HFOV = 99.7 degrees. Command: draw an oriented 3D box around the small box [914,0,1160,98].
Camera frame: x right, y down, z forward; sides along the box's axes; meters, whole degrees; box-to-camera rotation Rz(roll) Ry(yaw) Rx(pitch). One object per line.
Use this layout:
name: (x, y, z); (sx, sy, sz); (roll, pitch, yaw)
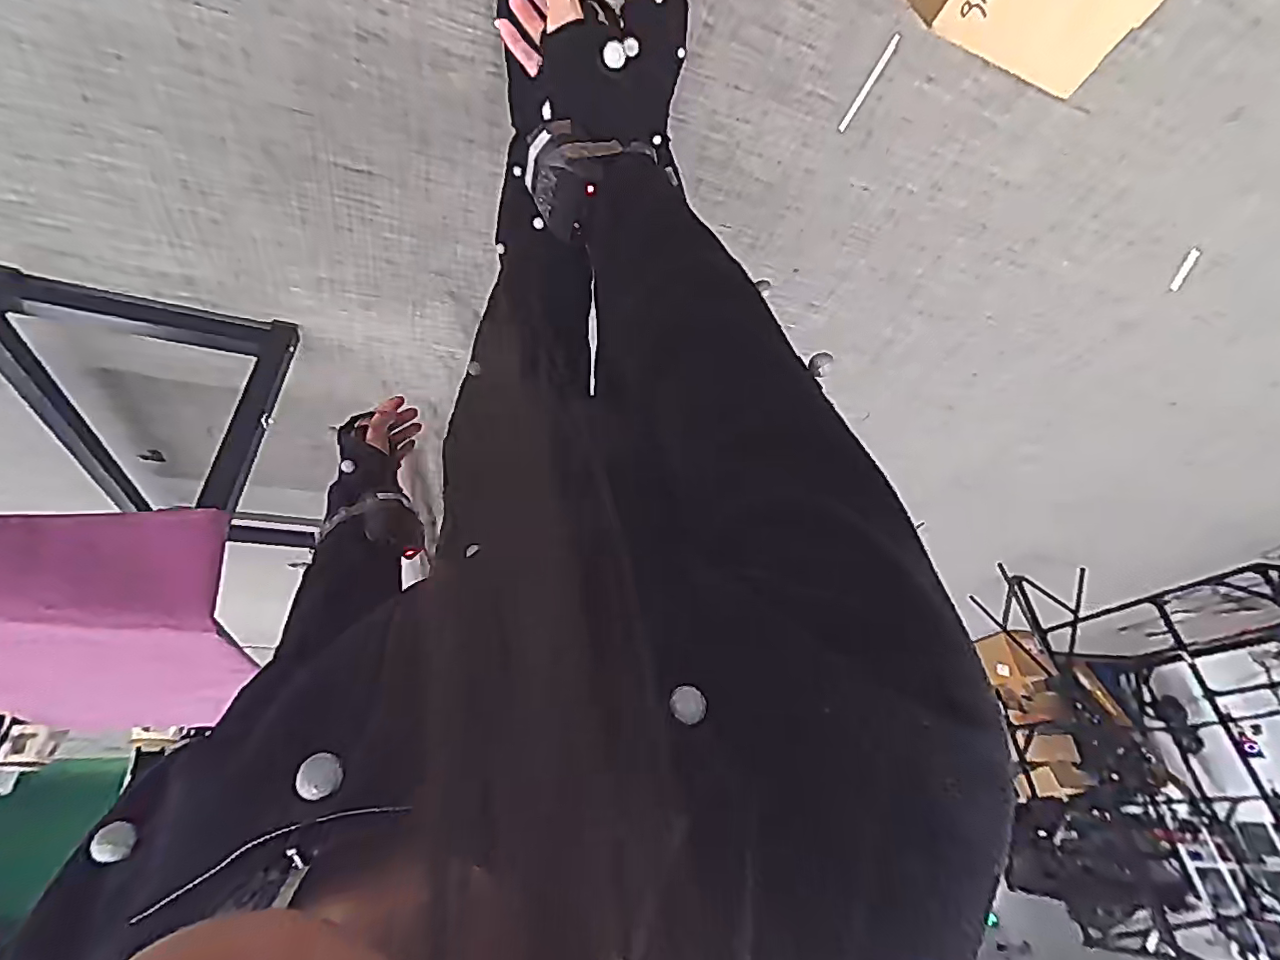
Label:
small box: (0.346, -0.478, 0.455); (0.179, 0.176, 0.168); (7, 149, -21)
